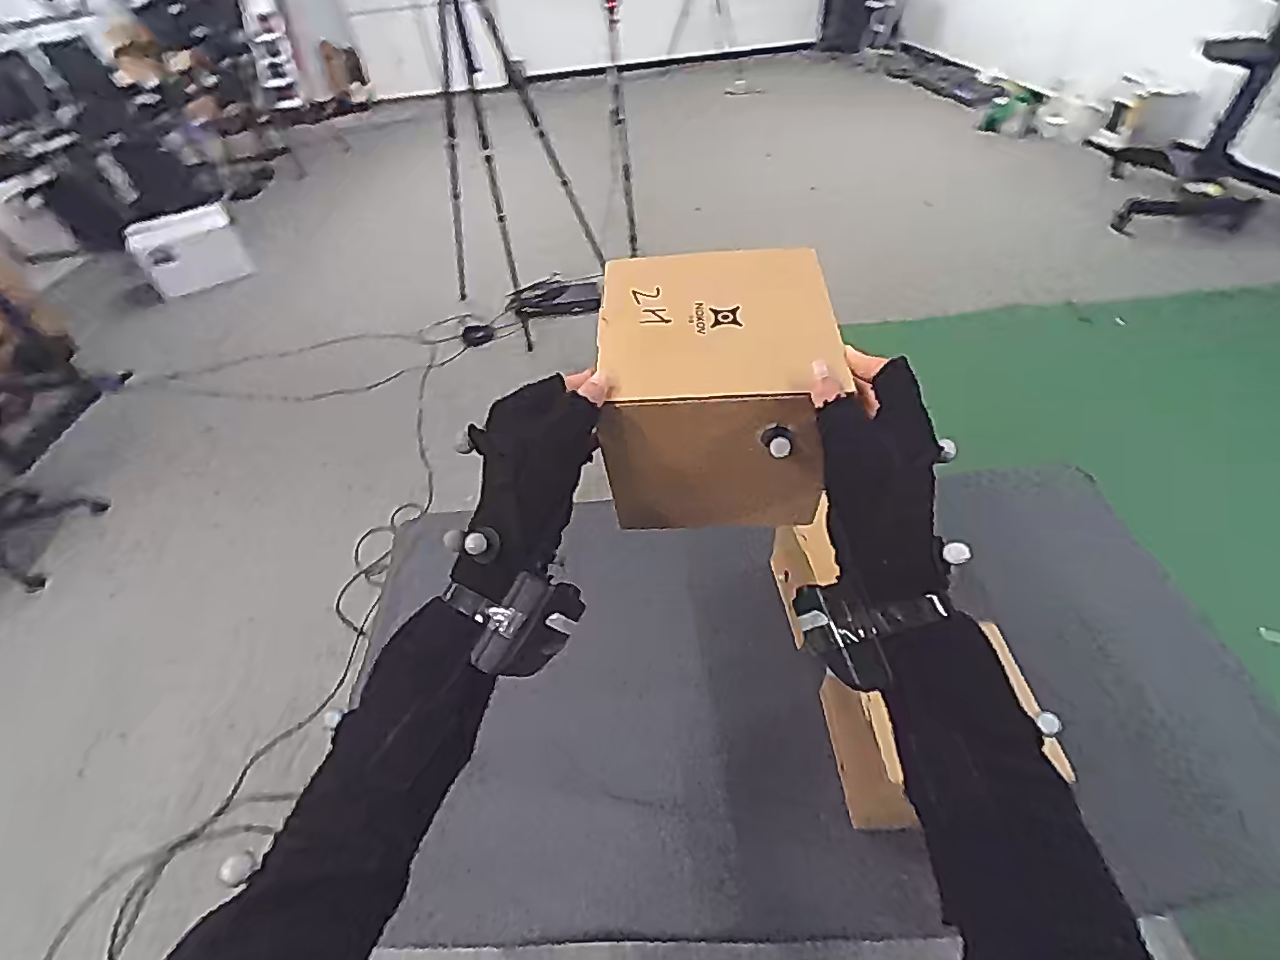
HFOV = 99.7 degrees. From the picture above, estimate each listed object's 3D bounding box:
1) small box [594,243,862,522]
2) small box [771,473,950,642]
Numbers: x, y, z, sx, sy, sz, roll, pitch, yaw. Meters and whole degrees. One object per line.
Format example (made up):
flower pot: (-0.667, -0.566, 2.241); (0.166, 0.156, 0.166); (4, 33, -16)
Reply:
small box: (0.067, -0.074, 0.460); (0.179, 0.176, 0.168); (-1, 54, 6)
small box: (0.300, 0.115, 0.781); (0.179, 0.176, 0.168); (-9, 46, 0)
